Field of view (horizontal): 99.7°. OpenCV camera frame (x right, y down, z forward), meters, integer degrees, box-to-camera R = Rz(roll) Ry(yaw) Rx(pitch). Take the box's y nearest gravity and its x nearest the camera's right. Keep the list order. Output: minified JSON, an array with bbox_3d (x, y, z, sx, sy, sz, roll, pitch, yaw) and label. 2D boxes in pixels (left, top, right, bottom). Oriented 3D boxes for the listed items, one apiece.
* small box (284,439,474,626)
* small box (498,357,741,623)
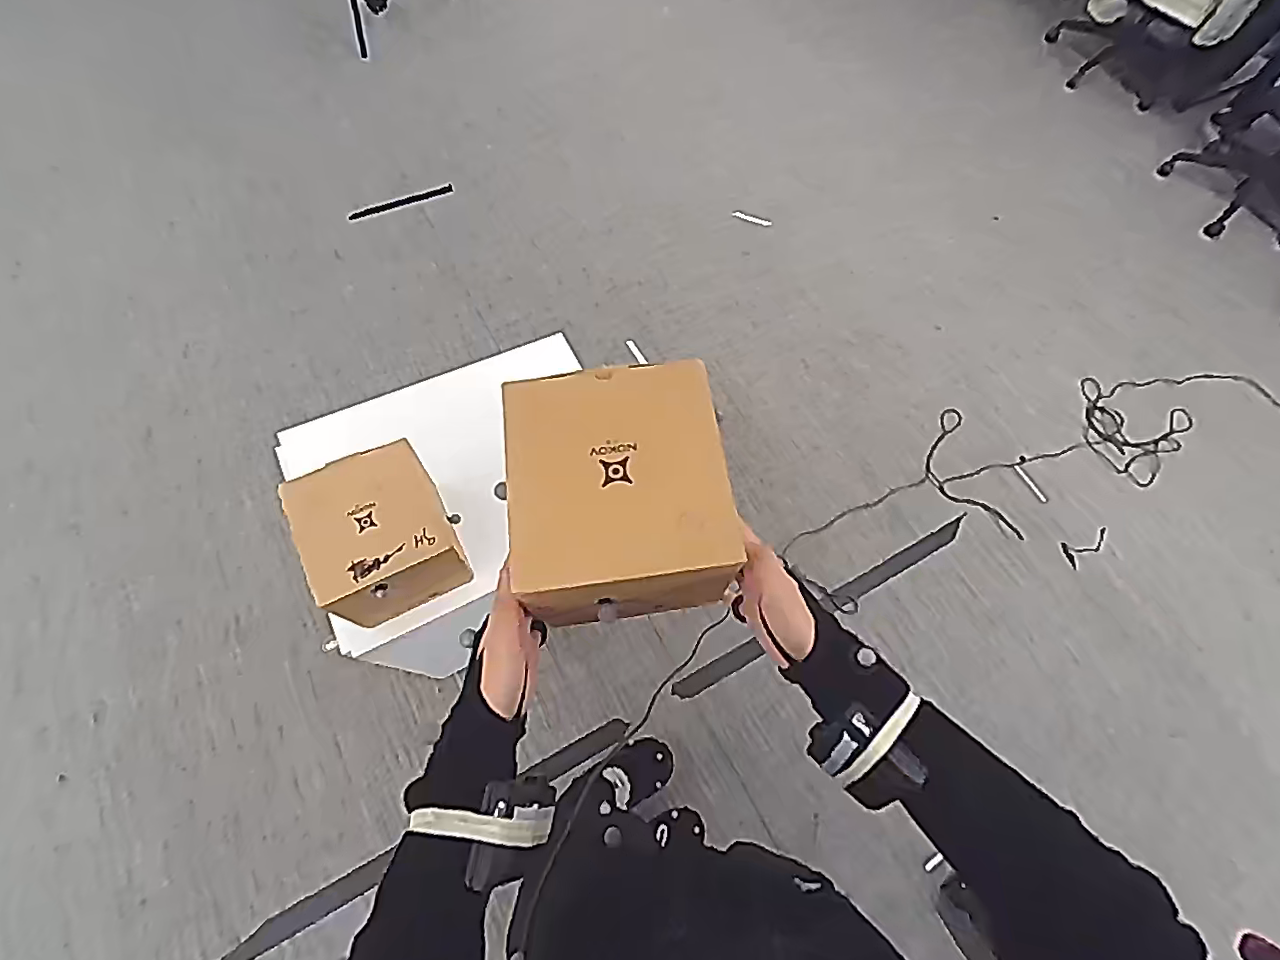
[{"bbox_3d":[-0.348,0.079,0.747,0.168,0.176,0.179,-25,71,-16],"label":"small box"},{"bbox_3d":[-0.018,0.022,0.473,0.168,0.176,0.179,-8,66,-3],"label":"small box"}]
